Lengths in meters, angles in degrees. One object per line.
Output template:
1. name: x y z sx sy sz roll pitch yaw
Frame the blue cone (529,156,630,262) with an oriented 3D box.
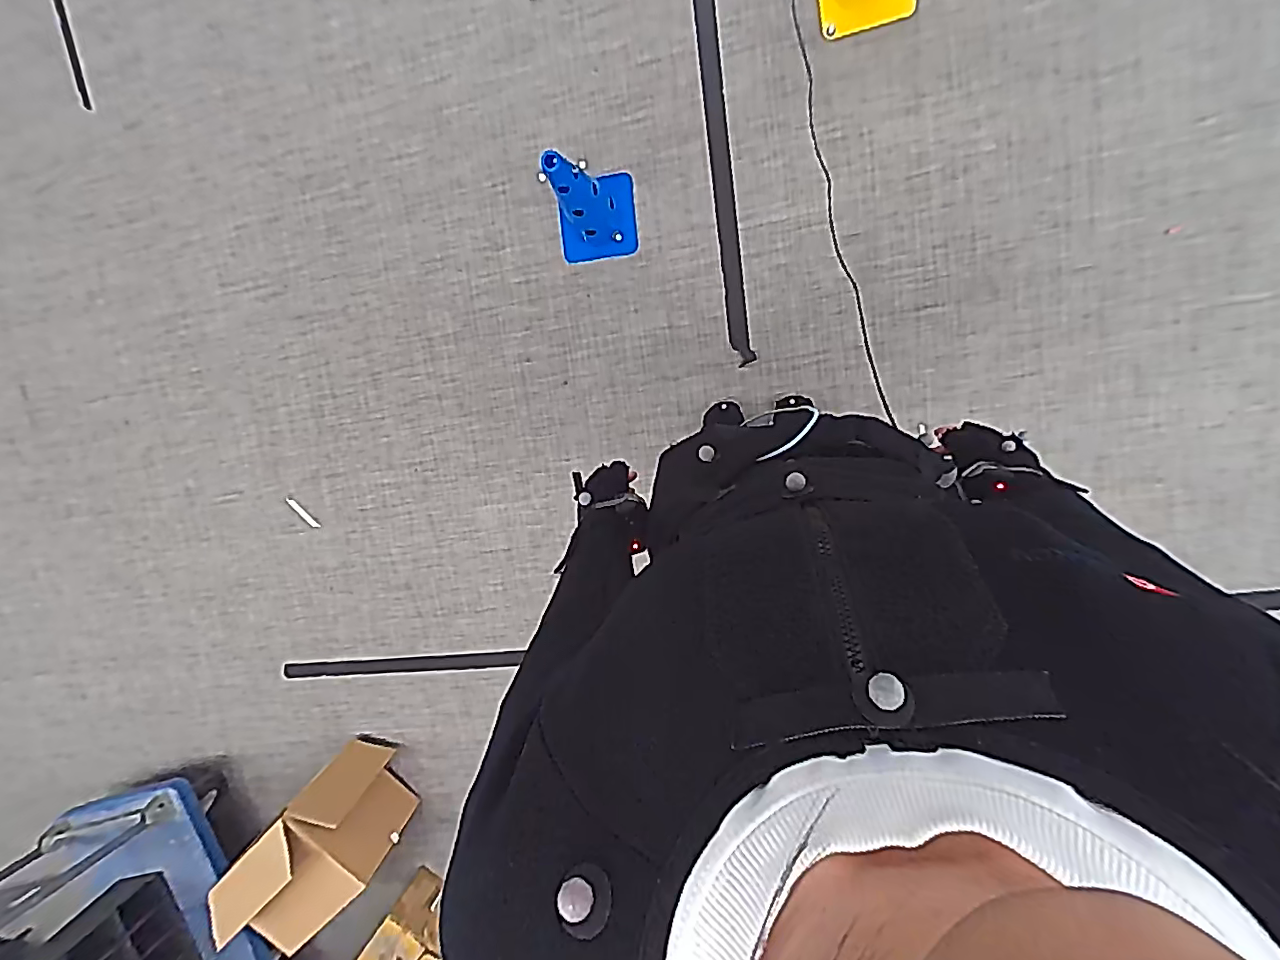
1. blue cone: -0.154 -0.646 1.236 0.192 0.380 0.193 -2 98 12
